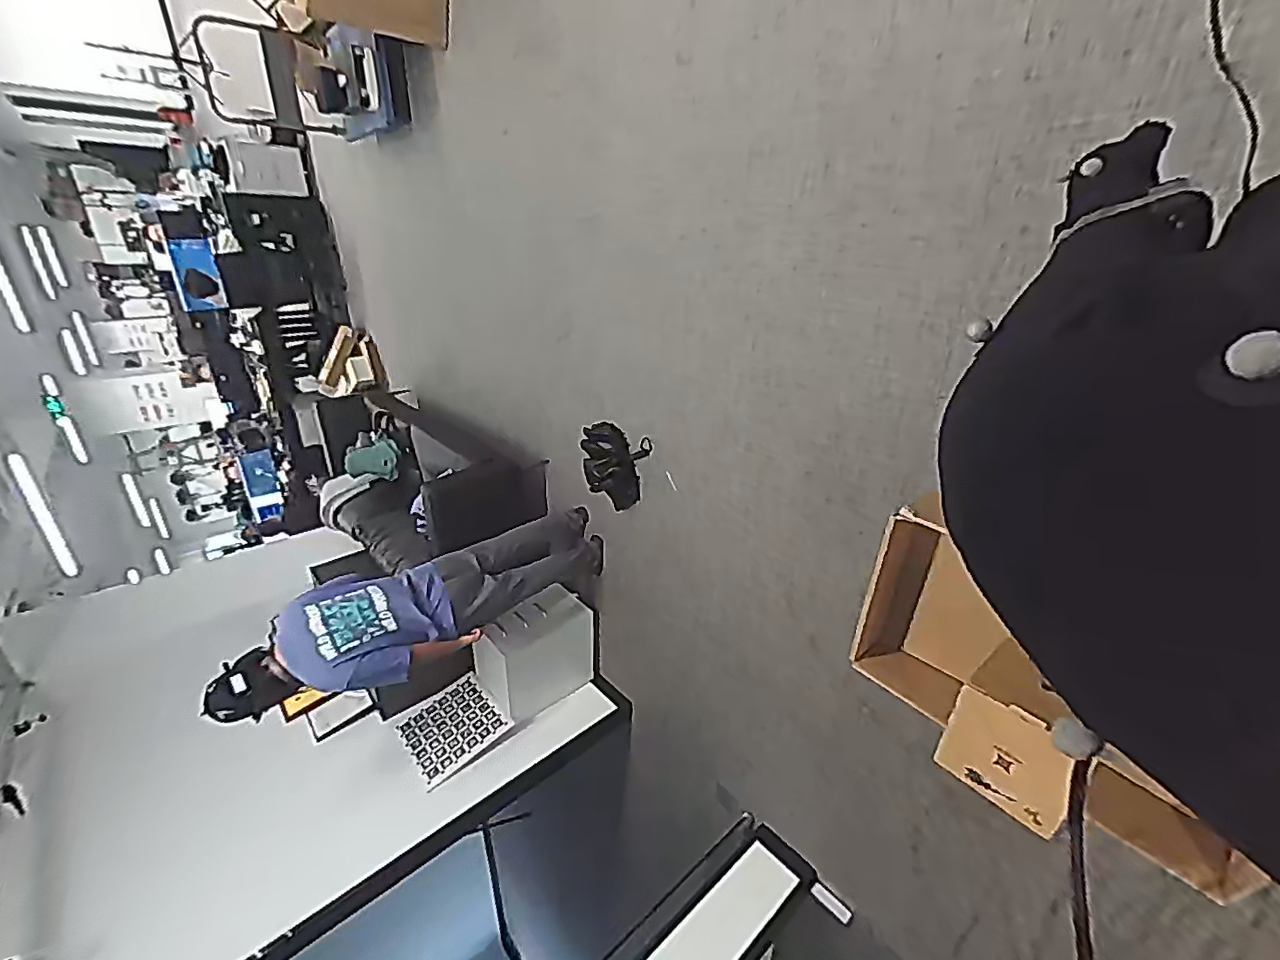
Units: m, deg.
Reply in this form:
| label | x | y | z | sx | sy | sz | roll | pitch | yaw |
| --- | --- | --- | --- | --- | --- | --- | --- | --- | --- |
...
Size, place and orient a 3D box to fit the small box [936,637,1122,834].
| label | x | y | z | sx | sy | sz | roll | pitch | yaw |
| --- | --- | --- | --- | --- | --- | --- | --- | --- | --- |
| small box | 0.592 | 0.374 | 0.824 | 0.168 | 0.176 | 0.179 | 30 | 127 | 43 |
